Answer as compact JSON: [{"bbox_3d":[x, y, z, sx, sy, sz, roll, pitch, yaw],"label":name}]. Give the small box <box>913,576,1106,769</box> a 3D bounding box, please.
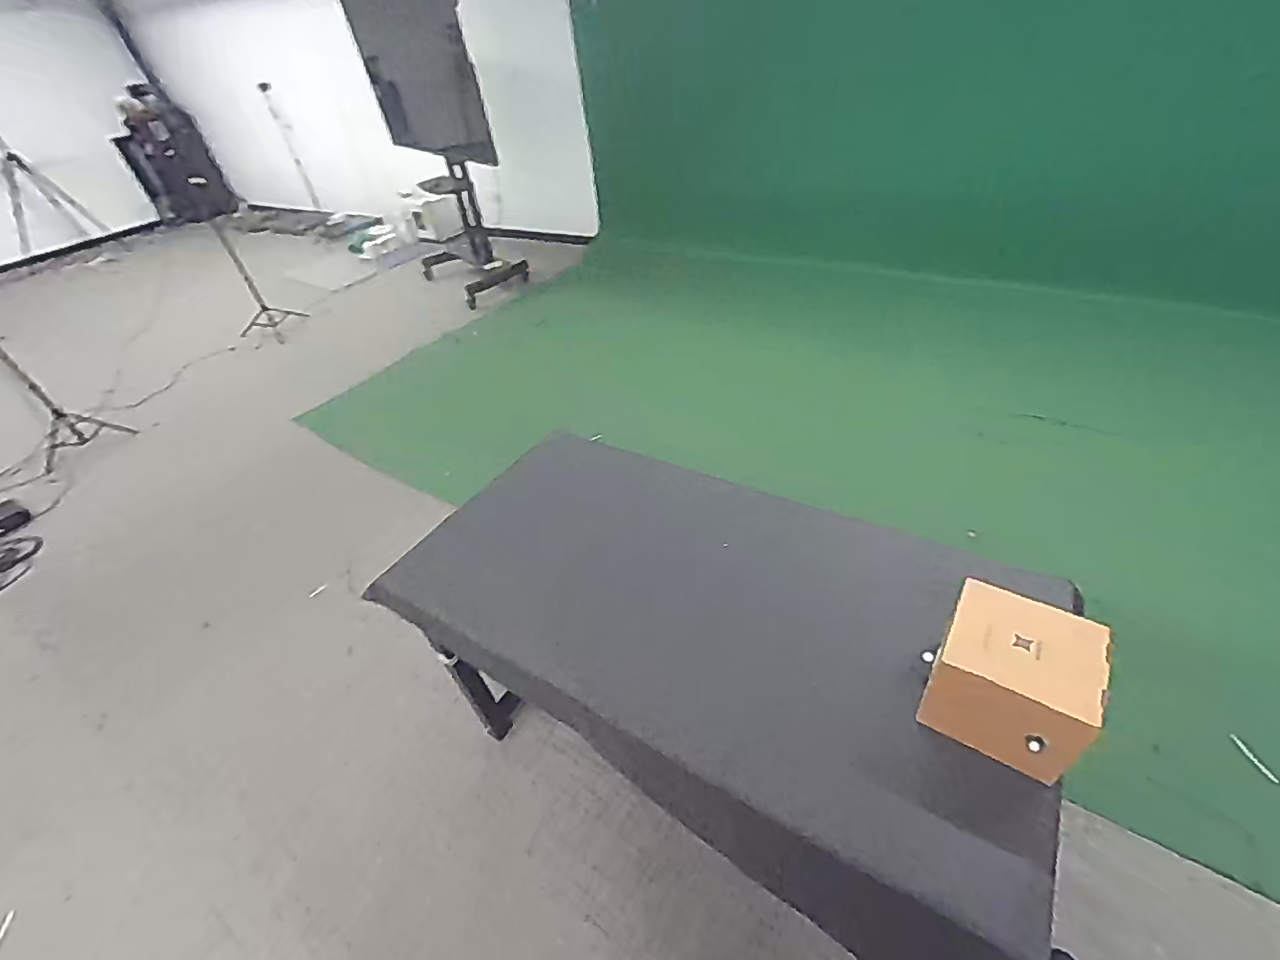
[{"bbox_3d":[0.515,0.274,0.768,0.179,0.176,0.168,19,47,30],"label":"small box"}]
